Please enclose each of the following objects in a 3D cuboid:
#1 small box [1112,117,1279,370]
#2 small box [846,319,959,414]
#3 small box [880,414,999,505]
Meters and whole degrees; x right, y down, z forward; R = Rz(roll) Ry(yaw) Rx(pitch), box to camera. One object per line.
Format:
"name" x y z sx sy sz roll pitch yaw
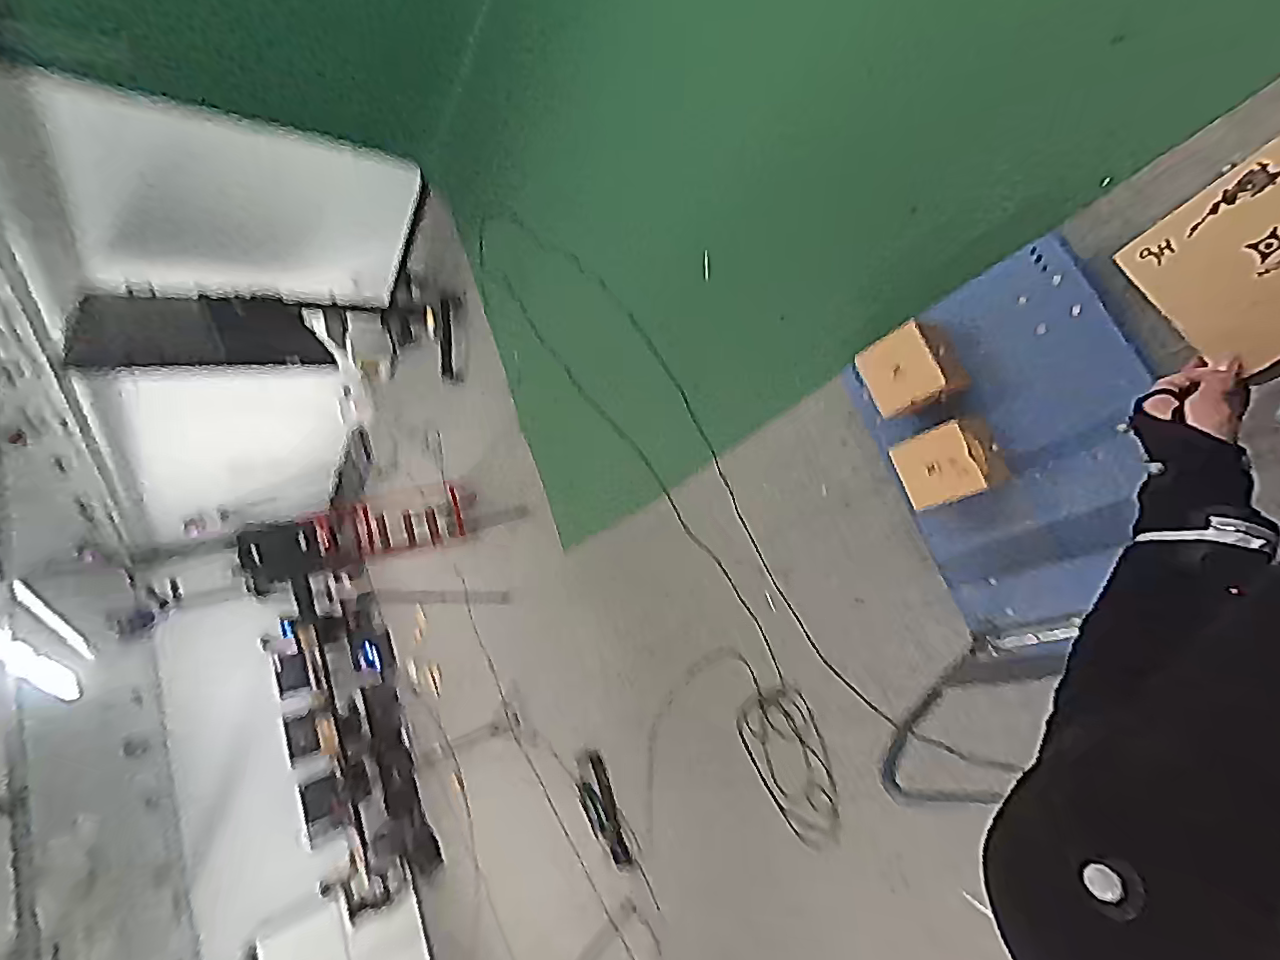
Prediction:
"small box" 0.626 -0.227 0.526 0.168 0.176 0.179 -43 63 49
"small box" 0.661 -0.283 1.356 0.168 0.176 0.179 -34 72 46
"small box" 0.731 -0.050 1.321 0.179 0.176 0.168 -32 74 48
